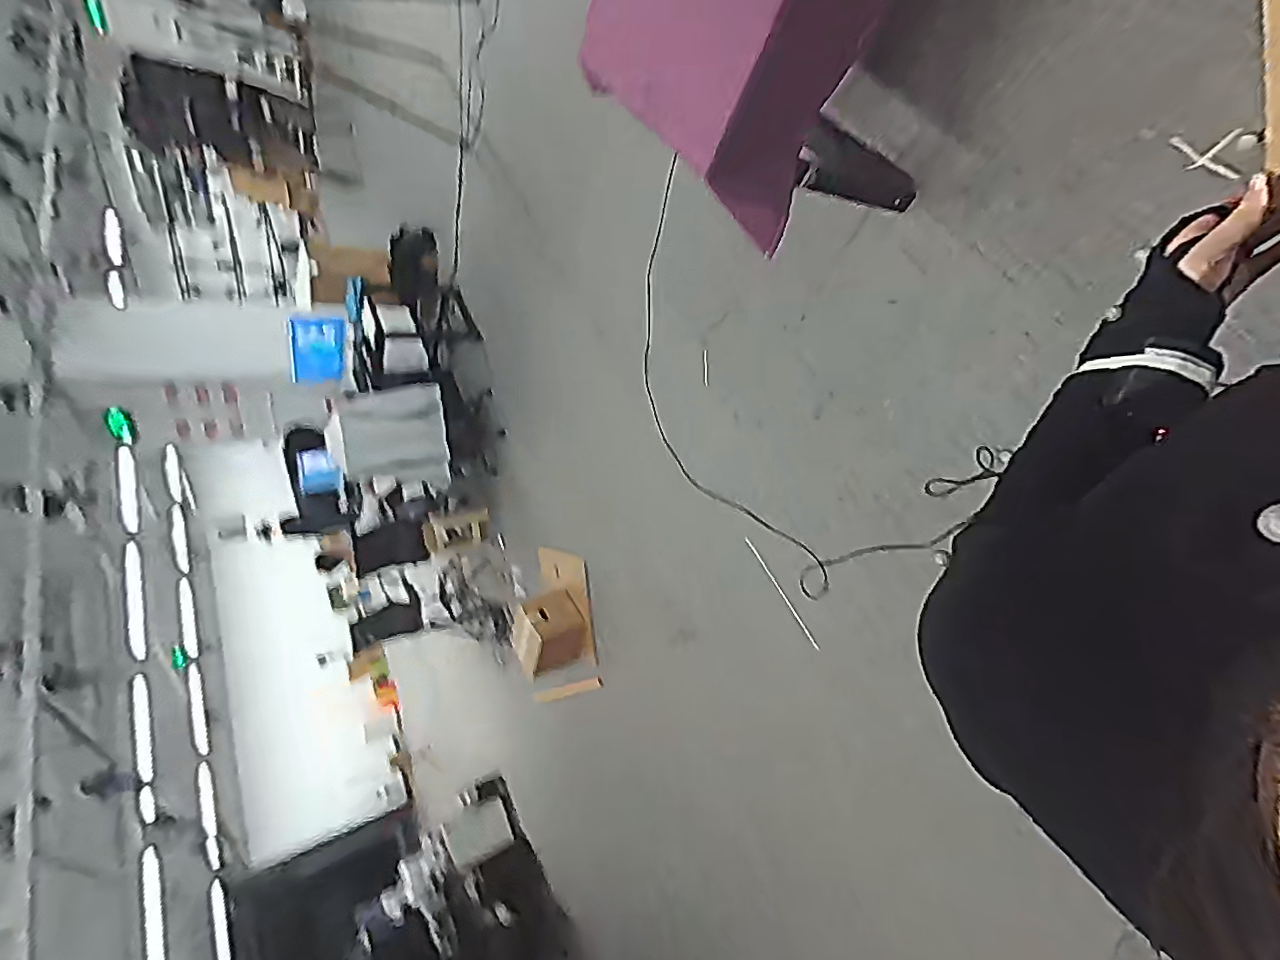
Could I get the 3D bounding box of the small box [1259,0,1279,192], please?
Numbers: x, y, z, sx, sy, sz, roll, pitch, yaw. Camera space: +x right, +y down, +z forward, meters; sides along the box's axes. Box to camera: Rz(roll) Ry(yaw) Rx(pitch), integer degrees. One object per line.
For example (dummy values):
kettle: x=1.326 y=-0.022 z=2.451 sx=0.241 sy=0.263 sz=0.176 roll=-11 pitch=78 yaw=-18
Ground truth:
small box: x=0.480 y=-0.284 z=0.306 sx=0.168 sy=0.176 sz=0.179 roll=1 pitch=99 yaw=49
